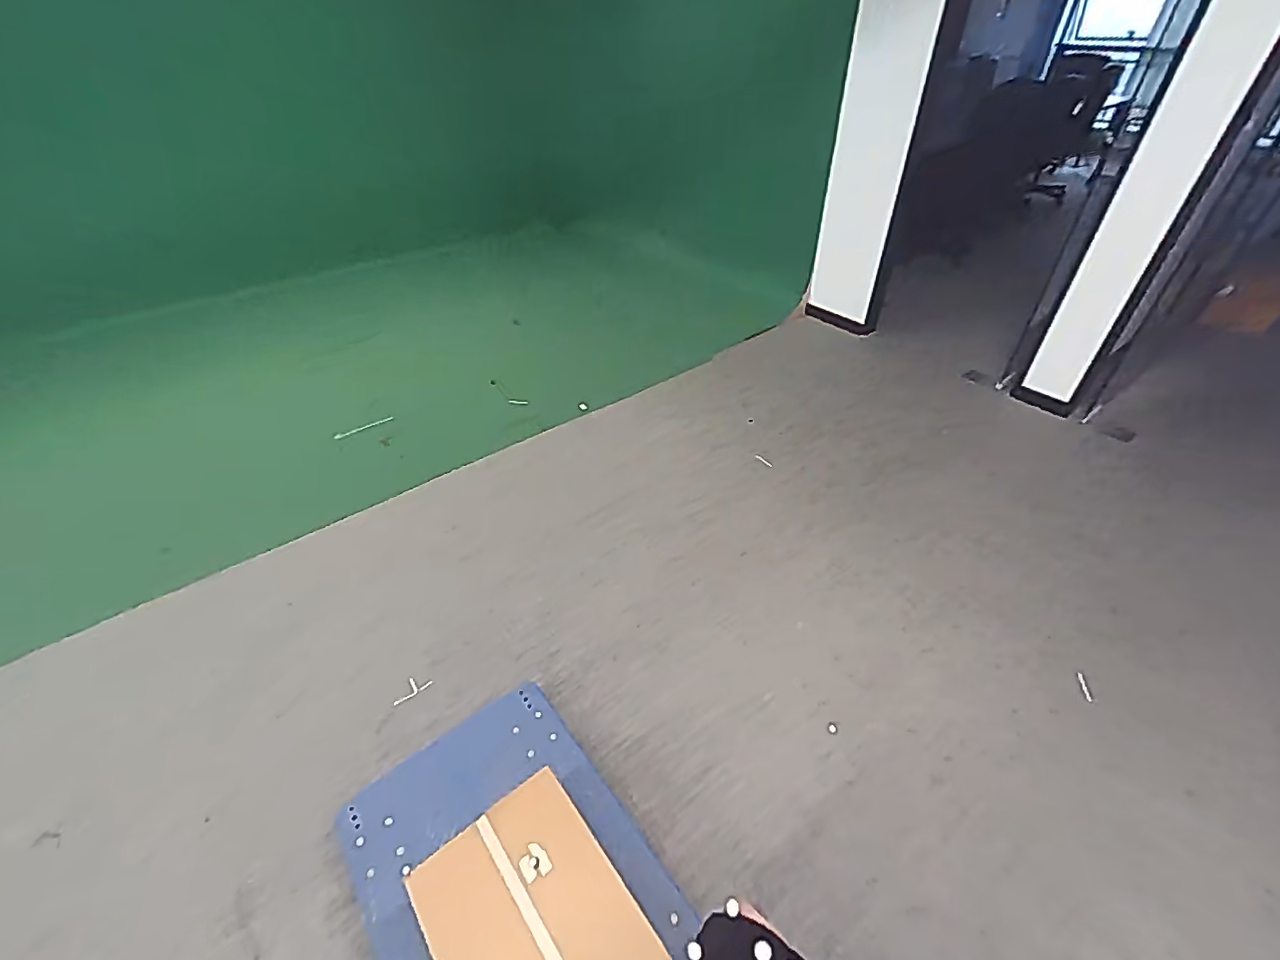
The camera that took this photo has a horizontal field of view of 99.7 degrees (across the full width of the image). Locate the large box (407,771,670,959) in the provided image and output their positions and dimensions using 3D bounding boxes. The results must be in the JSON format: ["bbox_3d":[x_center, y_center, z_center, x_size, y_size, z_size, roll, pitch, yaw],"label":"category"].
[{"bbox_3d":[-0.182,0.882,1.045,0.320,0.320,0.408,-28,46,-27],"label":"large box"}]
